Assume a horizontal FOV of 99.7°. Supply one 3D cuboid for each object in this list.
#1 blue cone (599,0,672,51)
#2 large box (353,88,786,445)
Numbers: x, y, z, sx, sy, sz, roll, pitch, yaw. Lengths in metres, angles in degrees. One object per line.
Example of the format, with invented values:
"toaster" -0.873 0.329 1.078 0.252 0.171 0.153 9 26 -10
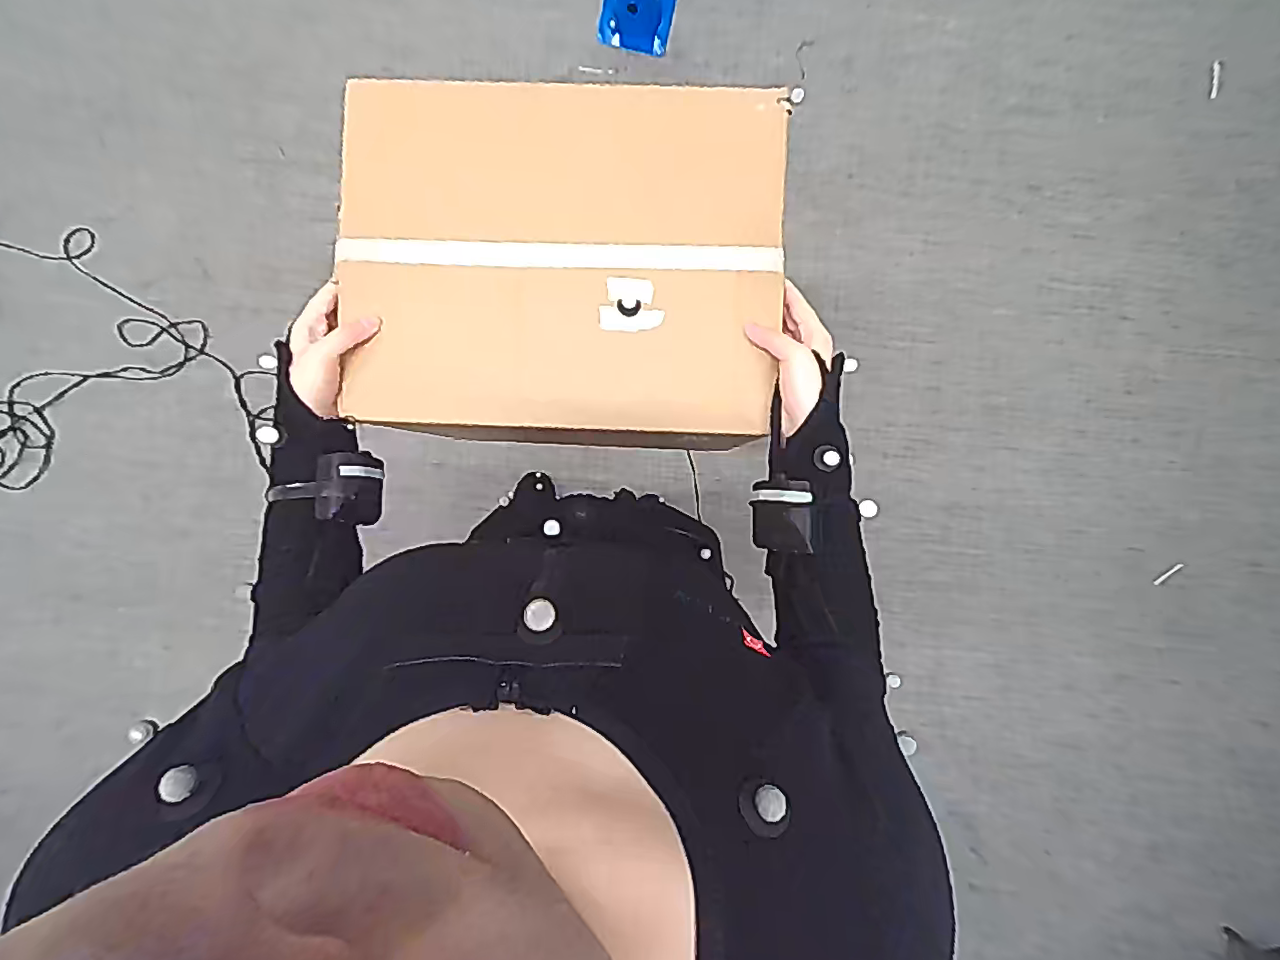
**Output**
"blue cone" -0.010 -1.325 1.371 0.193 0.380 0.192 14 88 0
"large box" -0.067 -0.208 0.651 0.408 0.320 0.320 2 91 0
